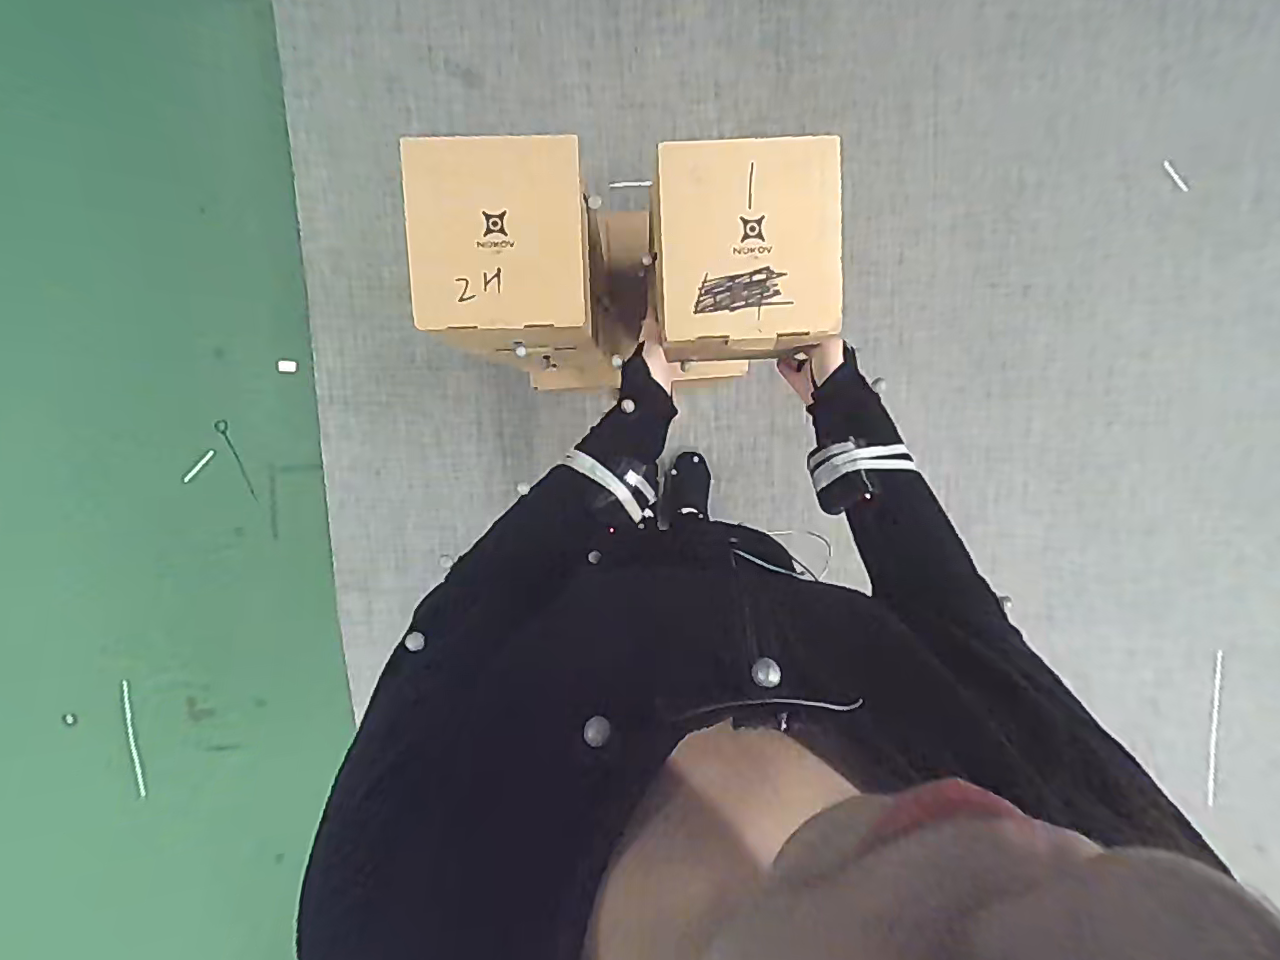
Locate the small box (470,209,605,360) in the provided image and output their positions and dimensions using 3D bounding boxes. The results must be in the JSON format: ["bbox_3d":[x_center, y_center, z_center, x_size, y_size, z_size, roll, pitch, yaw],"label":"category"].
[{"bbox_3d":[-0.136,-0.260,0.754,0.168,0.176,0.179,-1,98,-1],"label":"small box"}]

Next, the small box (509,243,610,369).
[{"bbox_3d":[-0.138,-0.286,0.916,0.168,0.176,0.179,-2,98,0],"label":"small box"}]

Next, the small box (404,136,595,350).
[{"bbox_3d":[-0.138,-0.242,0.590,0.168,0.176,0.179,-1,98,0],"label":"small box"}]

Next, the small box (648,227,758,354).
[{"bbox_3d":[0.099,-0.309,0.911,0.168,0.176,0.179,1,96,1],"label":"small box"}]
